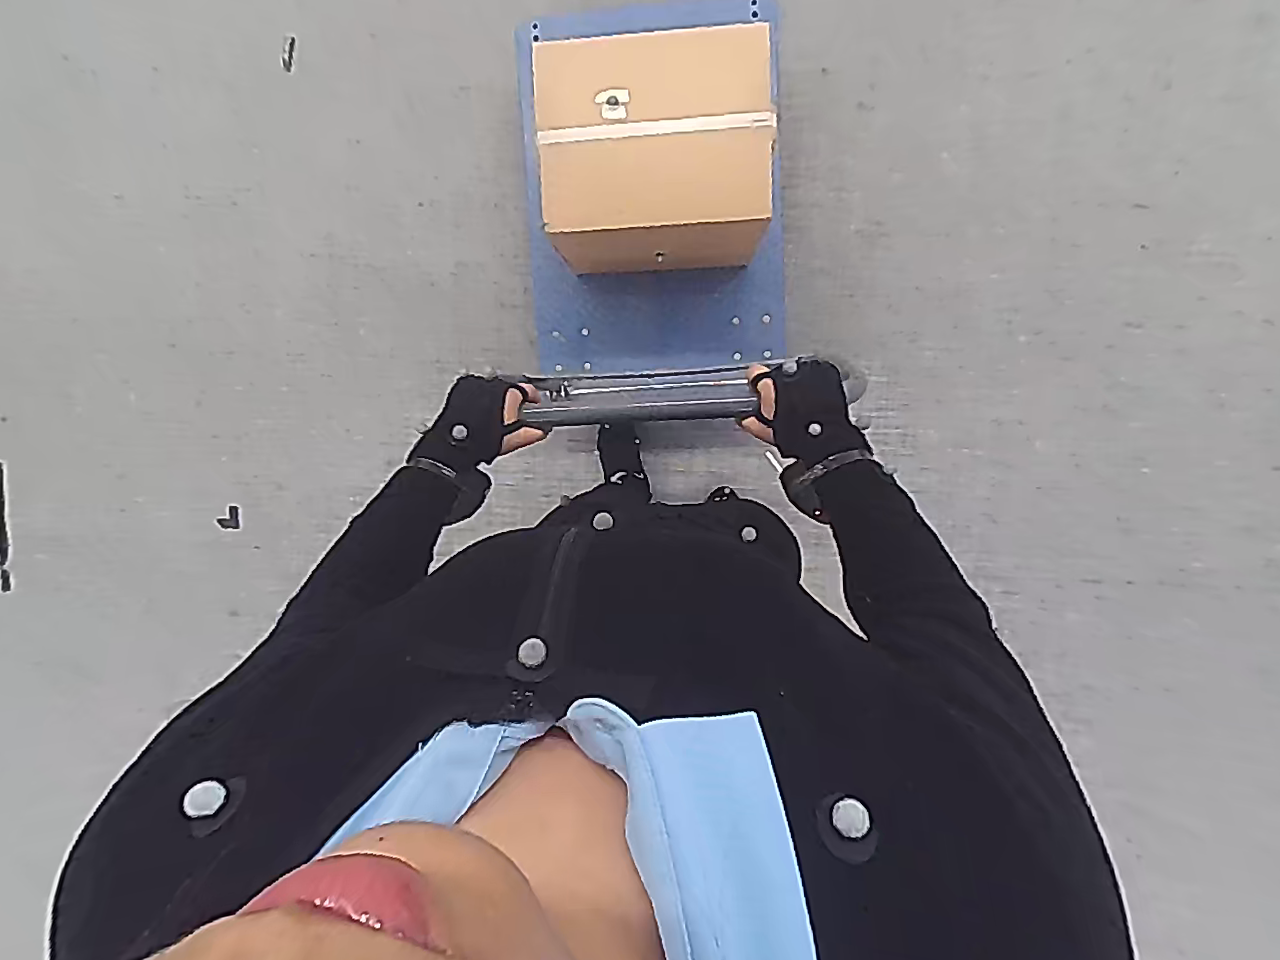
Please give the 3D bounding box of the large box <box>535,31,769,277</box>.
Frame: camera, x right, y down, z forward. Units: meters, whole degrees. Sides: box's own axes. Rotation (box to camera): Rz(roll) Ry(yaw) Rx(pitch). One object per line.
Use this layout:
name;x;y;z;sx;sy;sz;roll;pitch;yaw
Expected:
large box;0.033;-0.617;1.094;0.408;0.320;0.320;-2;96;5
